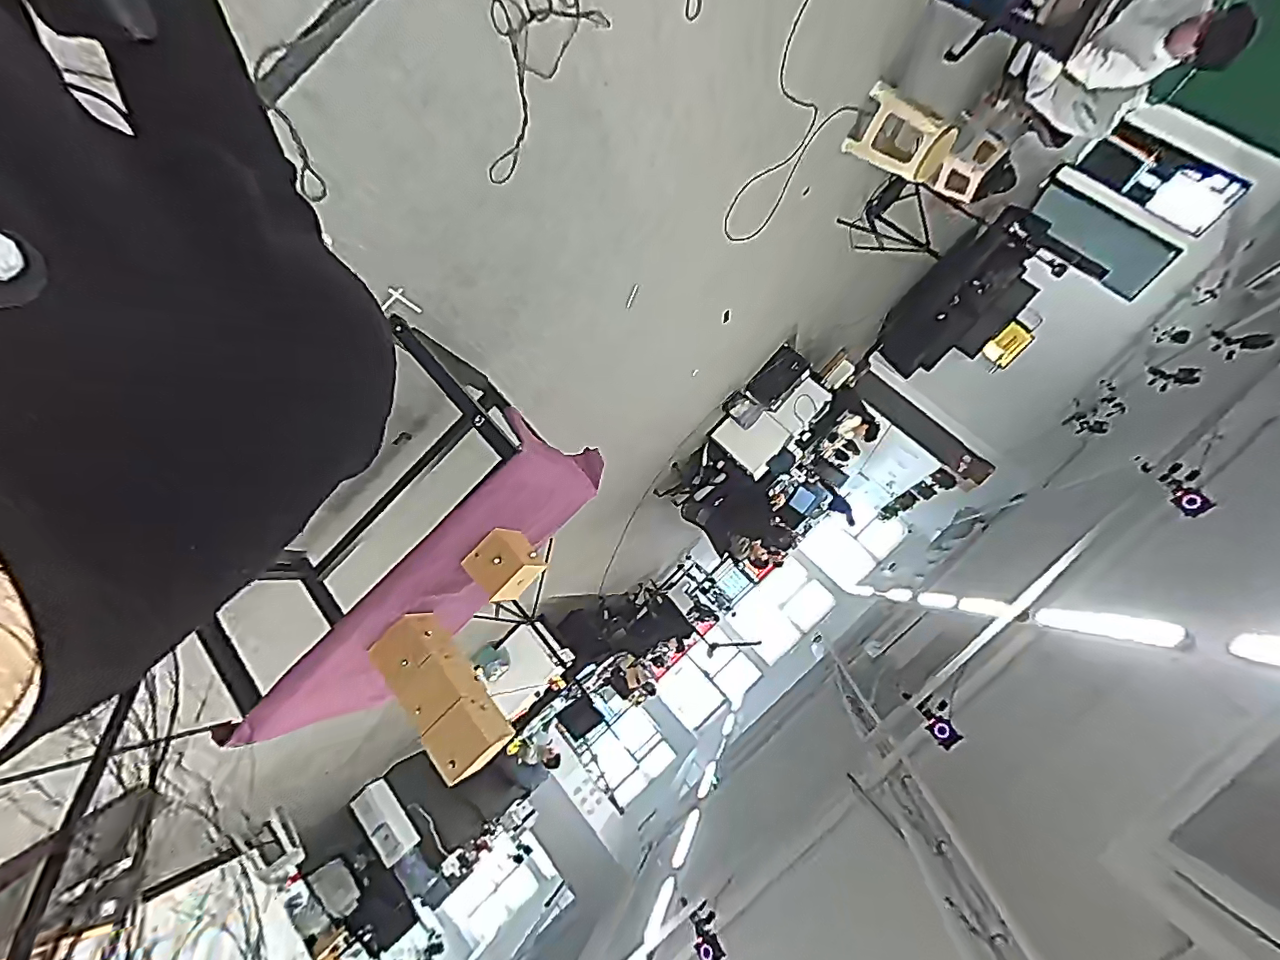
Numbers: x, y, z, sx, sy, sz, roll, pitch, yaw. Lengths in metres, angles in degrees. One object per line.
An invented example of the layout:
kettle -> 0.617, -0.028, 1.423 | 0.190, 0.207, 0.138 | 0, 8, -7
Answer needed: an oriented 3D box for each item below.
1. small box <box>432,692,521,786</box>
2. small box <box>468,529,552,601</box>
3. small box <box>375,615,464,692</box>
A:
small box -> -0.508, 0.785, 1.658 | 0.179, 0.176, 0.168 | -45, 162, 1
small box -> -0.429, 0.276, 1.777 | 0.168, 0.176, 0.179 | -46, 163, 4
small box -> -0.720, 0.555, 1.763 | 0.179, 0.176, 0.168 | -44, 161, 1
